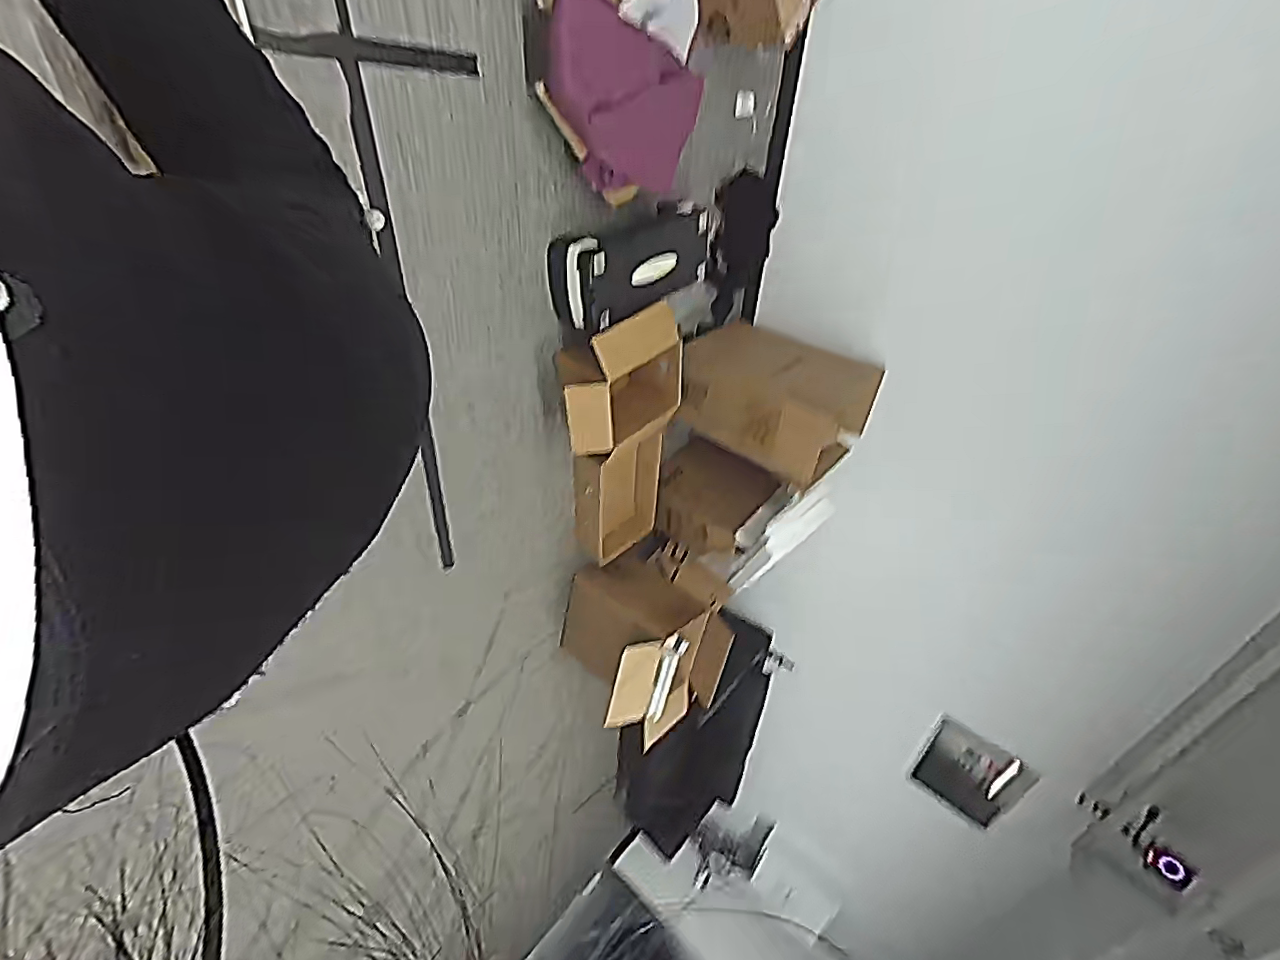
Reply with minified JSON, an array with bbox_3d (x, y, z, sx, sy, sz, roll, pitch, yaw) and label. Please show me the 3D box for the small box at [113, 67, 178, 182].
[{"bbox_3d":[-0.835,-0.658,1.009,0.179,0.176,0.168,-28,137,-40],"label":"small box"}]
